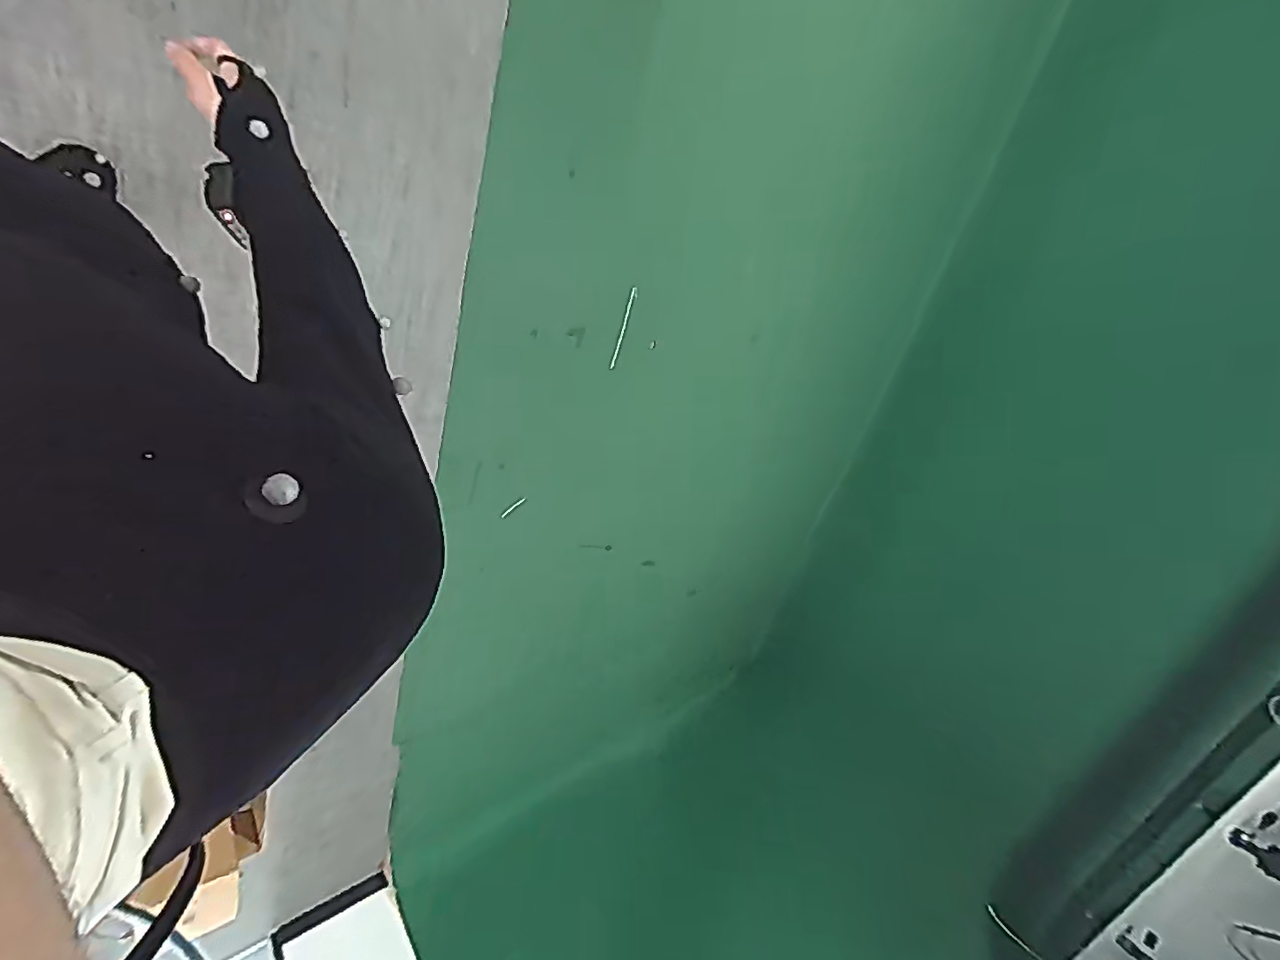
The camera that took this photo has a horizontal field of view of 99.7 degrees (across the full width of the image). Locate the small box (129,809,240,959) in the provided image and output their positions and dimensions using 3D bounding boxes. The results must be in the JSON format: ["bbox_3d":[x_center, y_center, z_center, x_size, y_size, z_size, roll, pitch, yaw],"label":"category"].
[{"bbox_3d":[-0.973,0.856,1.155,0.168,0.176,0.179,-4,121,-45],"label":"small box"}]

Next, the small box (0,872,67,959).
[{"bbox_3d":[-1.161,0.866,0.973,0.179,0.176,0.168,-1,117,-45],"label":"small box"}]
